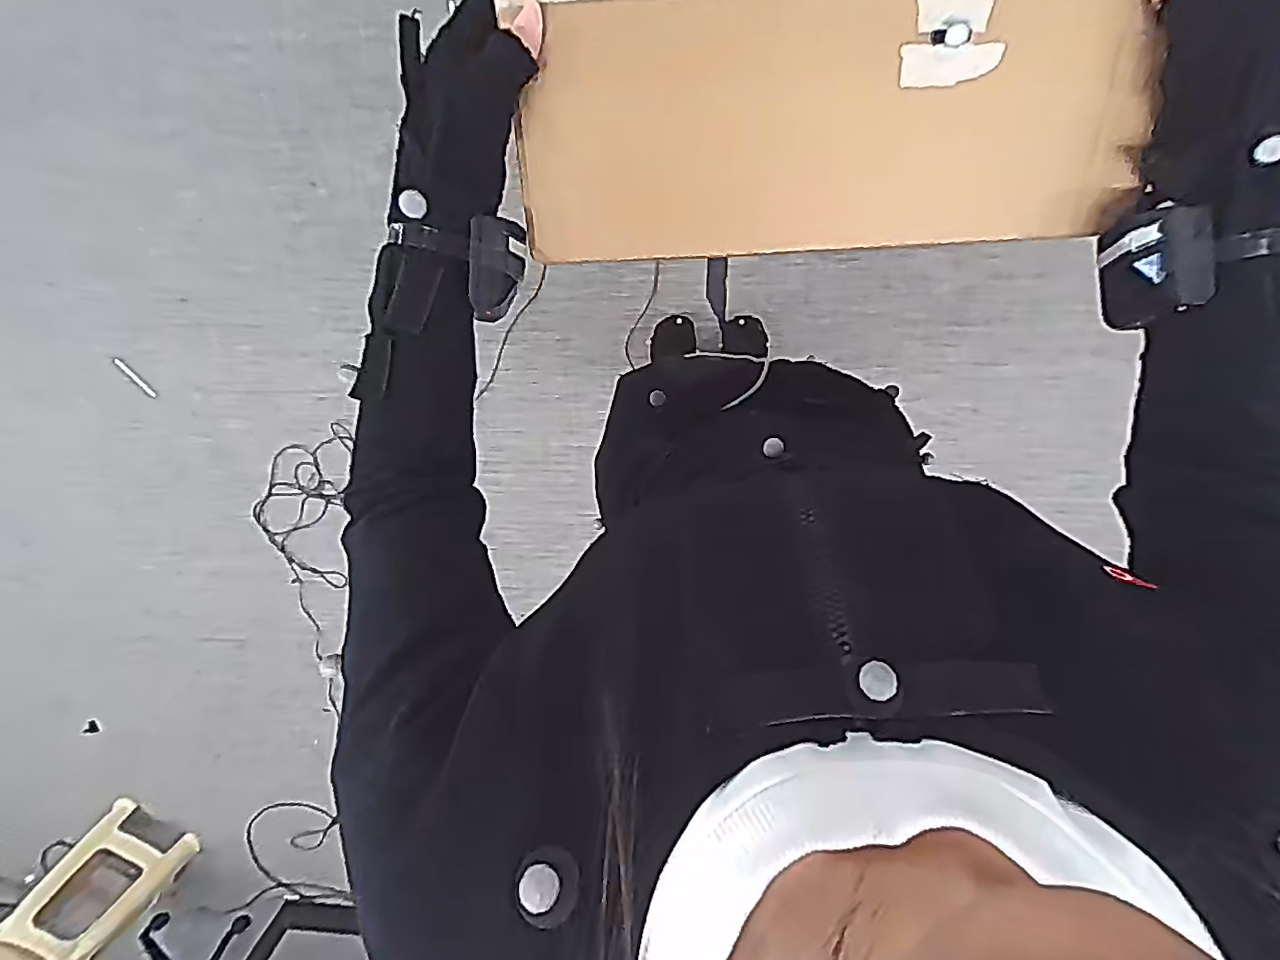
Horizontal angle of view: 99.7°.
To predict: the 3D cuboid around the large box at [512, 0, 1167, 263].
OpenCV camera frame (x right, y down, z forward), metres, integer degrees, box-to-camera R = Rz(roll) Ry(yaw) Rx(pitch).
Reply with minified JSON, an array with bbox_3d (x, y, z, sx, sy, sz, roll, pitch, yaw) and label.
[{"bbox_3d":[0.122,-0.368,0.462,0.408,0.320,0.320,-2,114,4],"label":"large box"}]
